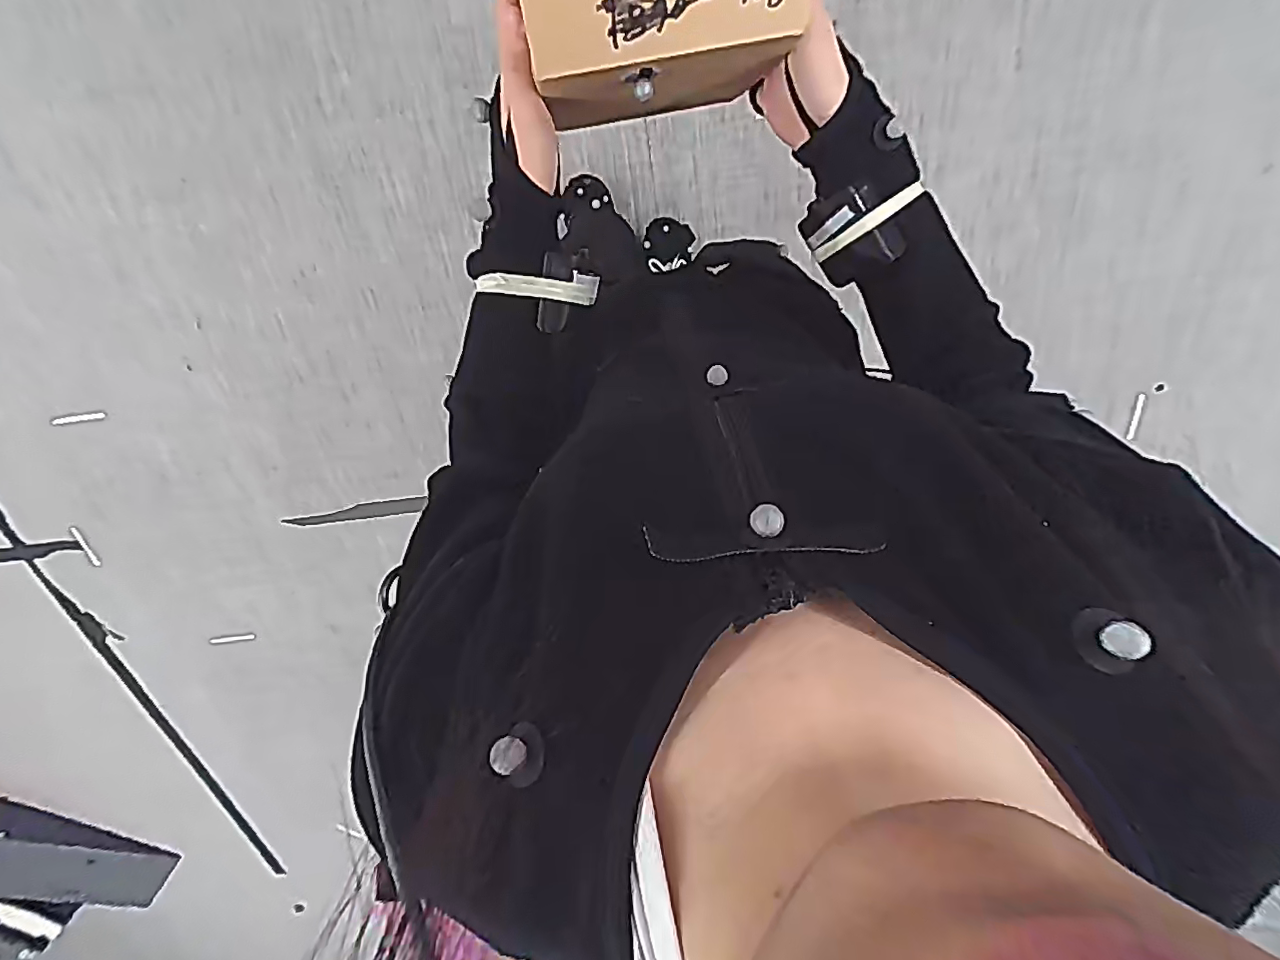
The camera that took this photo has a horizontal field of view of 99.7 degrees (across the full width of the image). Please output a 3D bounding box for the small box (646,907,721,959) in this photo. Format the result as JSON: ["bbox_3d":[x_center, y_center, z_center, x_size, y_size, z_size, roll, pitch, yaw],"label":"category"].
[{"bbox_3d":[0.104,1.113,1.240,0.168,0.176,0.179,-6,119,3],"label":"small box"}]

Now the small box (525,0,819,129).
[{"bbox_3d":[0.002,-0.355,0.349,0.168,0.176,0.179,-11,114,-1],"label":"small box"}]

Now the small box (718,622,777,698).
[{"bbox_3d":[0.355,0.591,1.800,0.168,0.176,0.179,-7,118,2],"label":"small box"}]
